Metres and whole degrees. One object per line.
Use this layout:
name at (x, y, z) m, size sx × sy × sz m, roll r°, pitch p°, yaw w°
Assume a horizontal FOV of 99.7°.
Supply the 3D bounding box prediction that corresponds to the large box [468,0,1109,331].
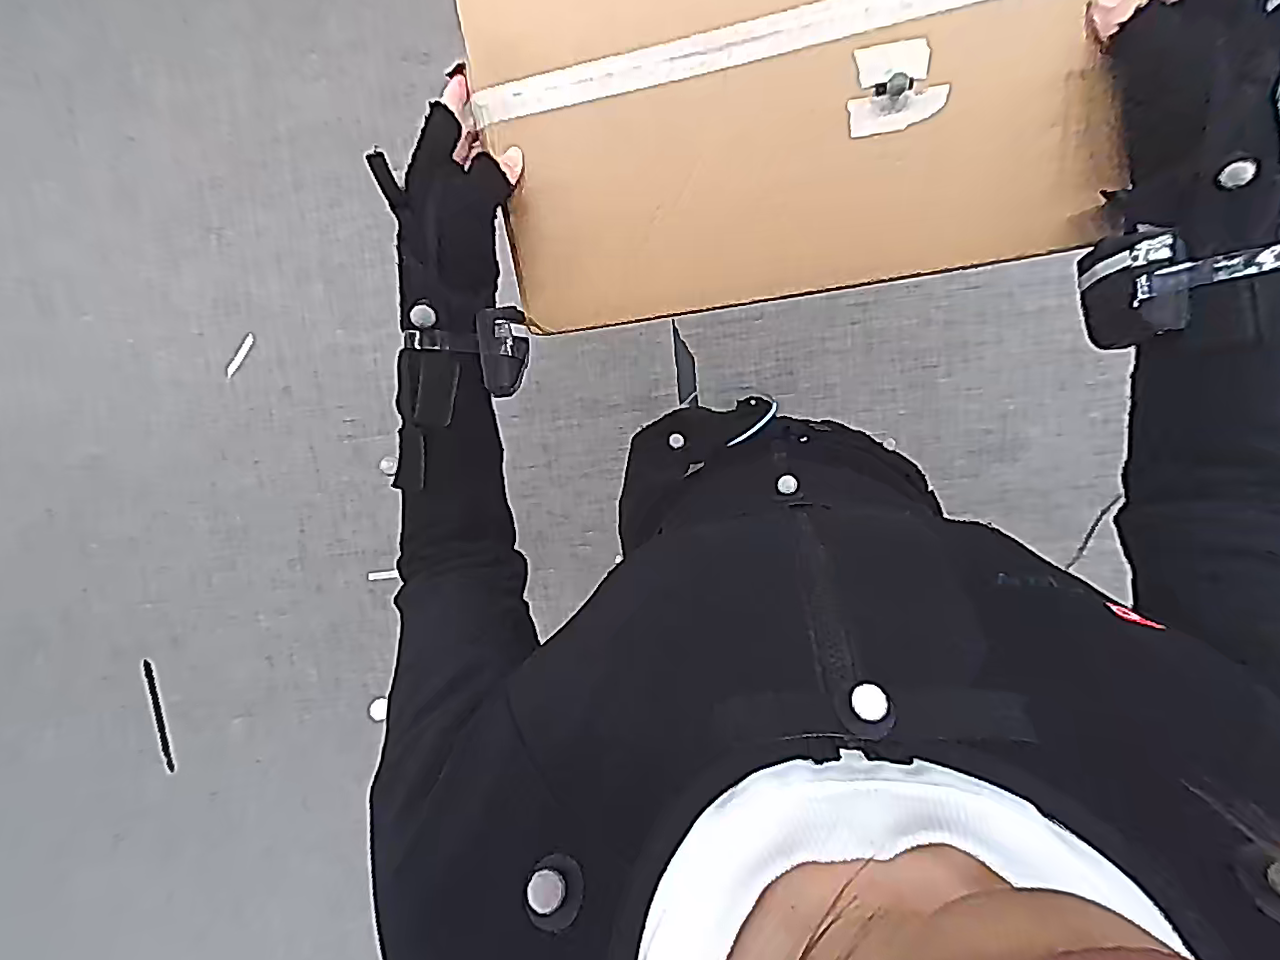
large box at (0.106, -0.333, 0.497) m, size 0.408 × 0.320 × 0.320 m, roll -7°, pitch 108°, yaw 10°
